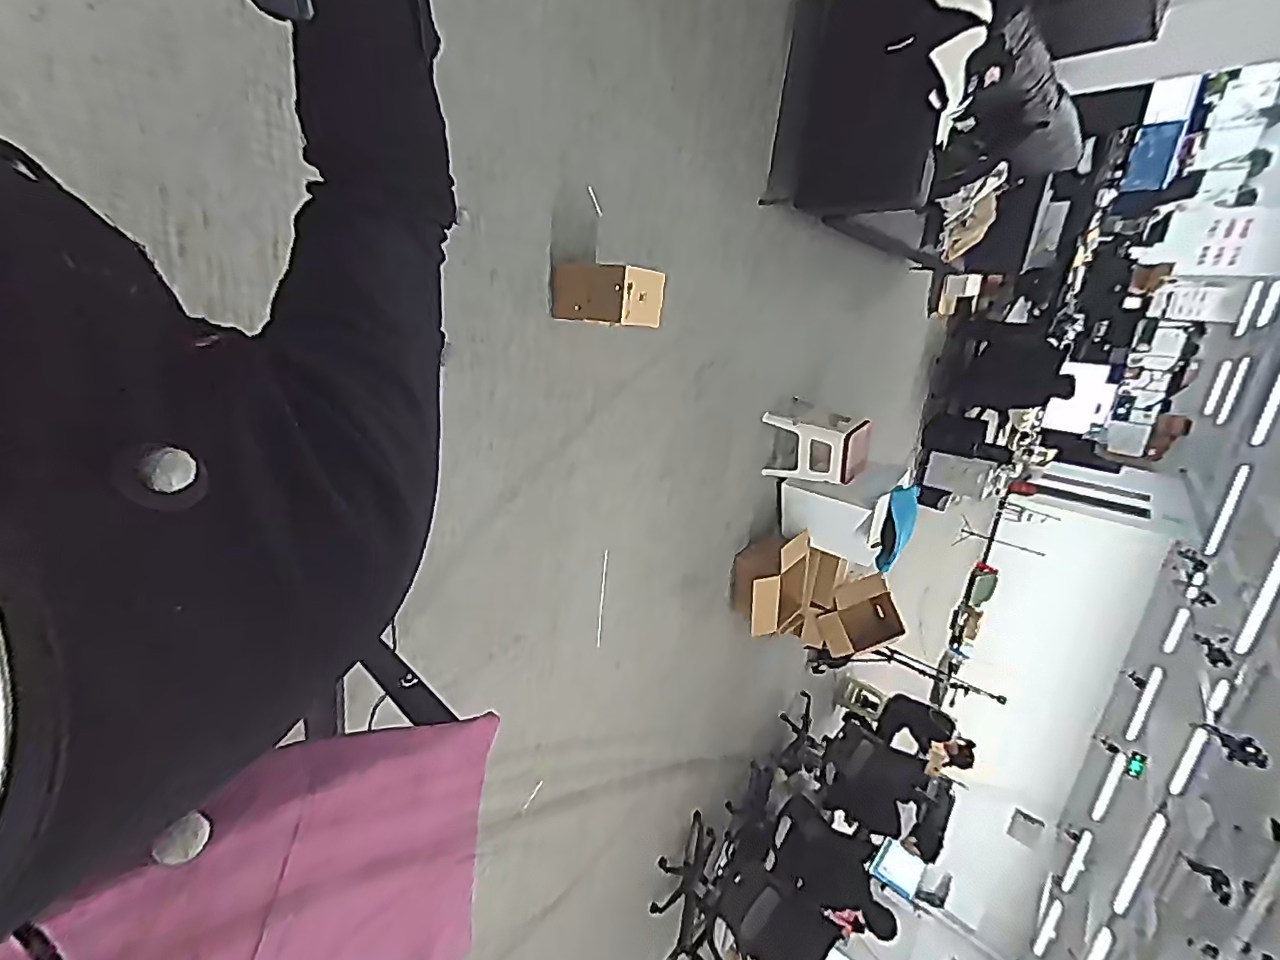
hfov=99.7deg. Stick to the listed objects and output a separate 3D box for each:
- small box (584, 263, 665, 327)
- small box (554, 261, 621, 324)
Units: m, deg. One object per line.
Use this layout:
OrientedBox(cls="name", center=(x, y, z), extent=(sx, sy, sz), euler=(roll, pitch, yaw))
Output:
OrientedBox(cls="small box", center=(-0.048, -0.574, 1.672), extent=(0.179, 0.176, 0.168), euler=(-11, 113, -47))
OrientedBox(cls="small box", center=(-0.167, -0.617, 1.777), extent=(0.168, 0.176, 0.179), euler=(-10, 113, -46))
